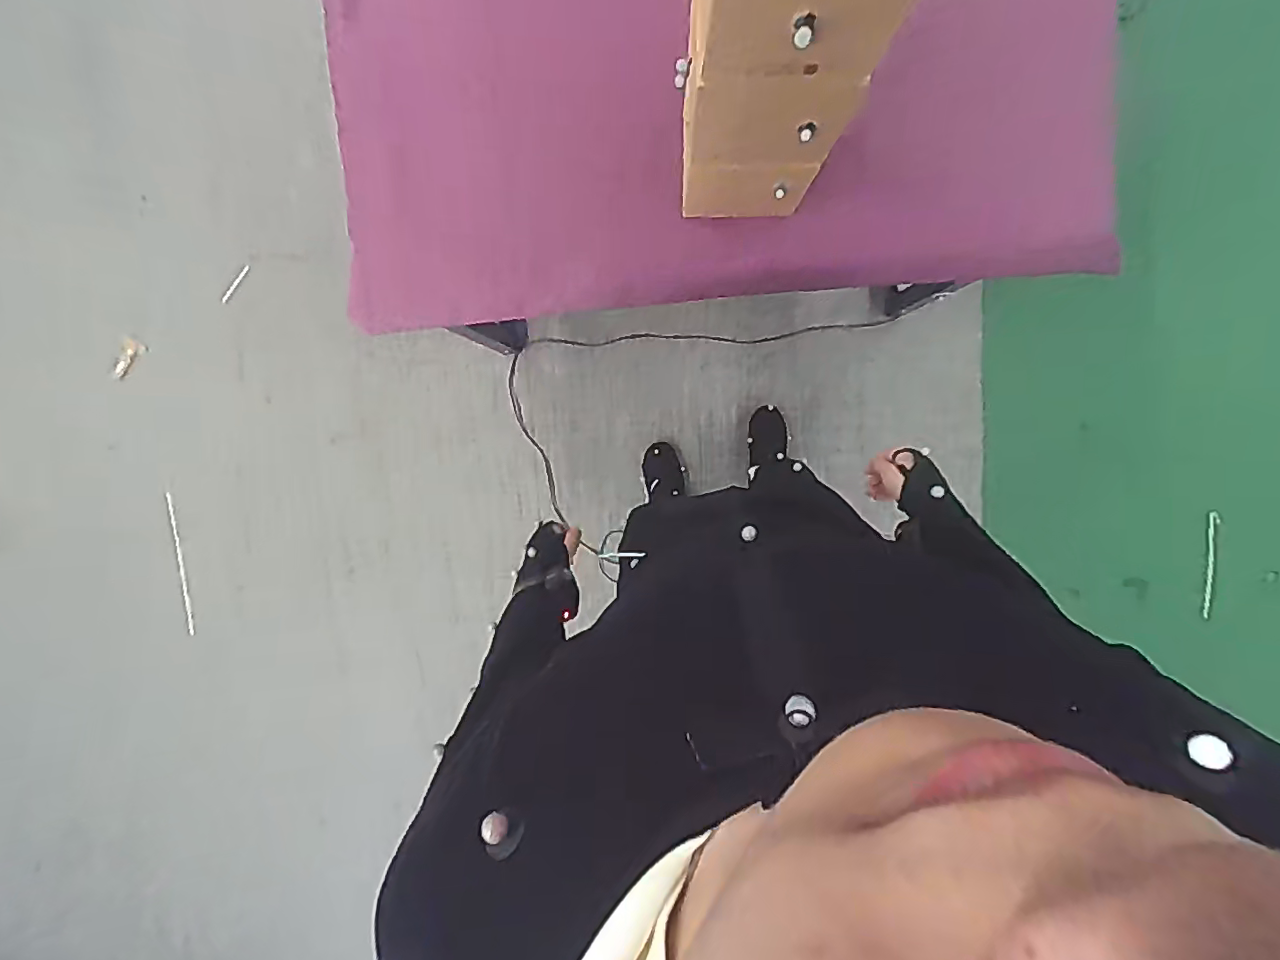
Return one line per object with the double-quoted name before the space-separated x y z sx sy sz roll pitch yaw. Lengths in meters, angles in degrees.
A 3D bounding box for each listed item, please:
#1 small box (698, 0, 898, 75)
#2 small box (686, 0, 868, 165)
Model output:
"small box" 0.138 -0.477 0.451 0.168 0.176 0.179 0 95 2
"small box" 0.145 -0.483 0.614 0.179 0.176 0.168 1 95 3
